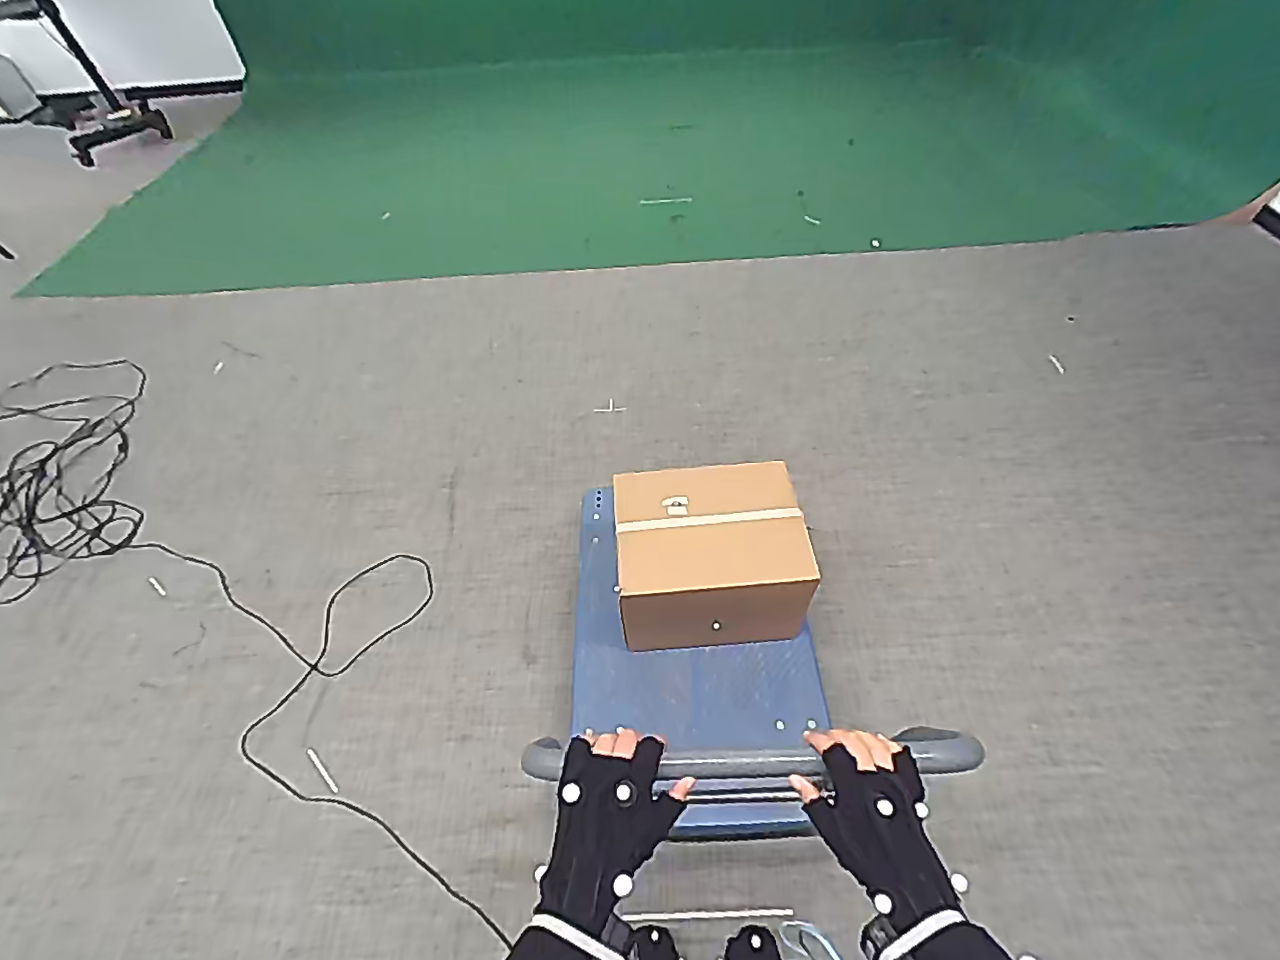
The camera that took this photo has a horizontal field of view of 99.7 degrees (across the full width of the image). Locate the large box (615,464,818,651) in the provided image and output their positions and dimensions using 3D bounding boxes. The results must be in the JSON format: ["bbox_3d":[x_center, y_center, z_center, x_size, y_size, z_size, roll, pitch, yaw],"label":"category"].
[{"bbox_3d":[0.159,0.191,1.291,0.408,0.320,0.320,-5,51,0],"label":"large box"}]
